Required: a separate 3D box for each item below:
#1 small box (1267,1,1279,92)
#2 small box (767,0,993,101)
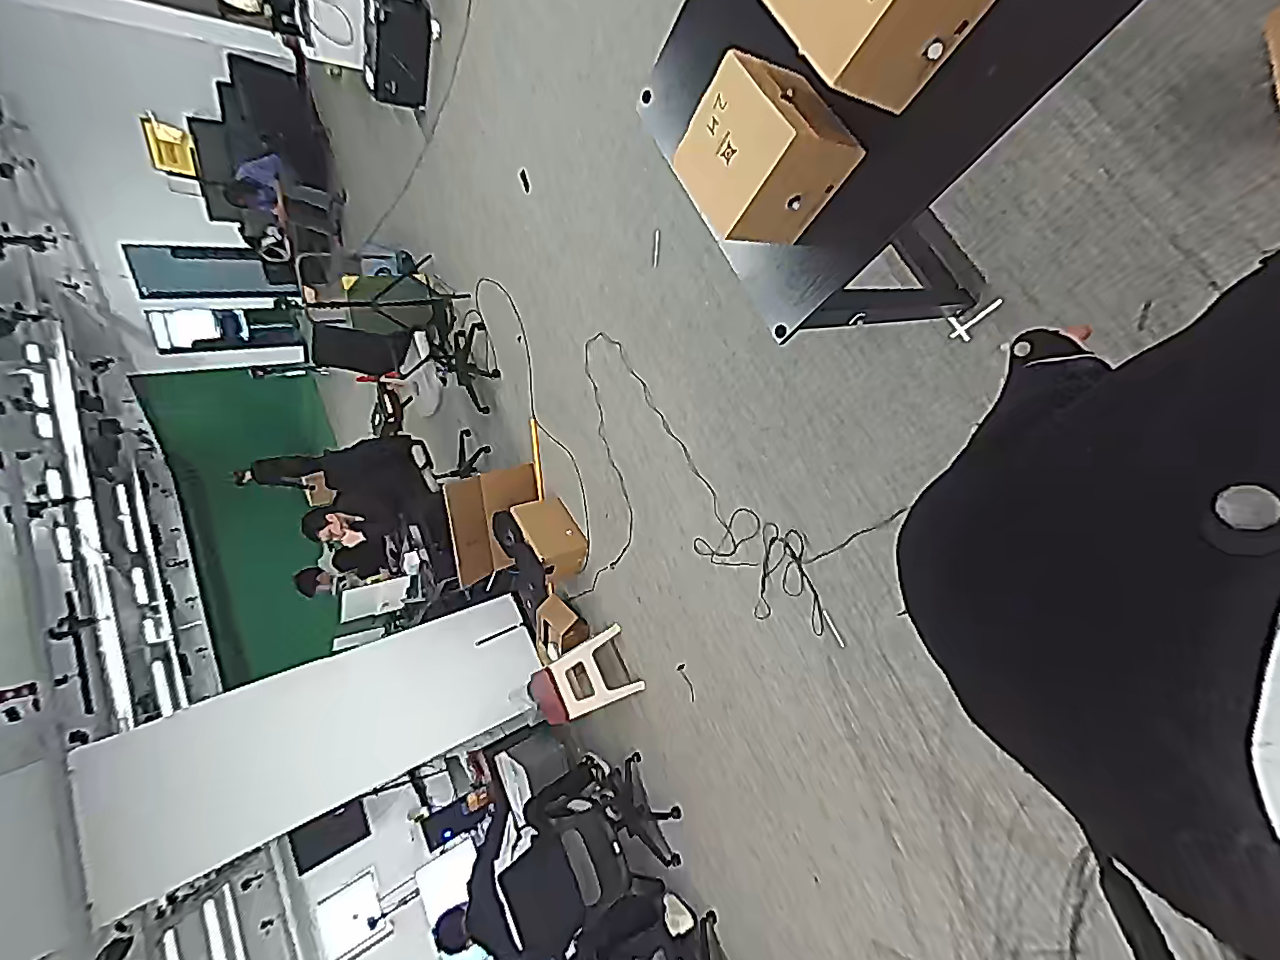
[{"bbox_3d":[1.078,-0.660,0.798,0.179,0.176,0.168,-10,94,55],"label":"small box"},{"bbox_3d":[0.284,-0.589,0.637,0.168,0.176,0.179,-45,67,51],"label":"small box"}]
